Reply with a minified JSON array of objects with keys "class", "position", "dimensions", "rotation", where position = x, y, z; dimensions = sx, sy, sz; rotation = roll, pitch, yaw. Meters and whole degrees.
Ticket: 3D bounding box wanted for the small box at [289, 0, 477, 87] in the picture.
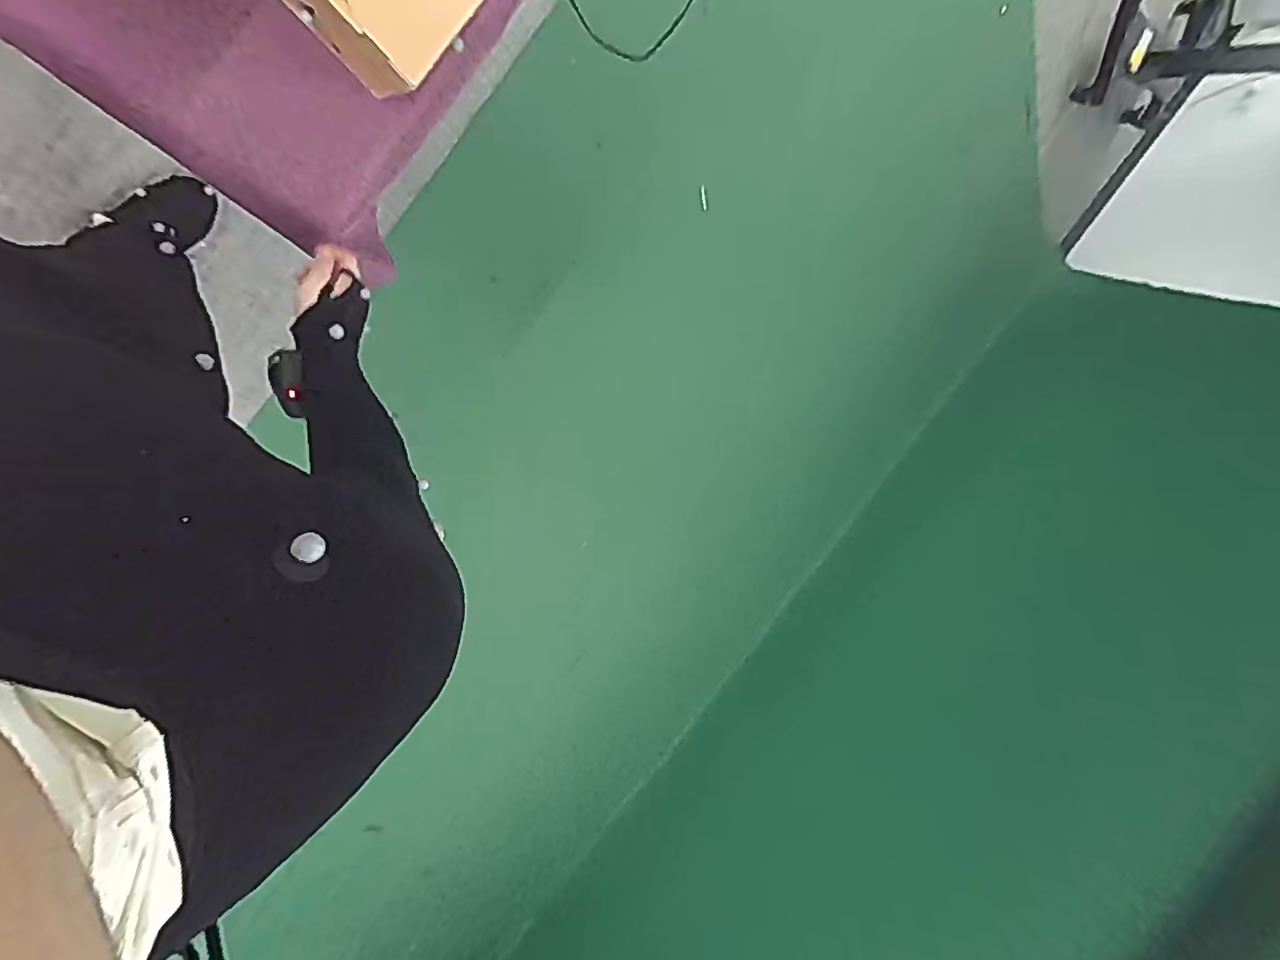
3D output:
[{"class":"small box","position":[-0.274,-0.547,0.555],"dimensions":[0.179,0.176,0.168],"rotation":[-51,136,1]}]
